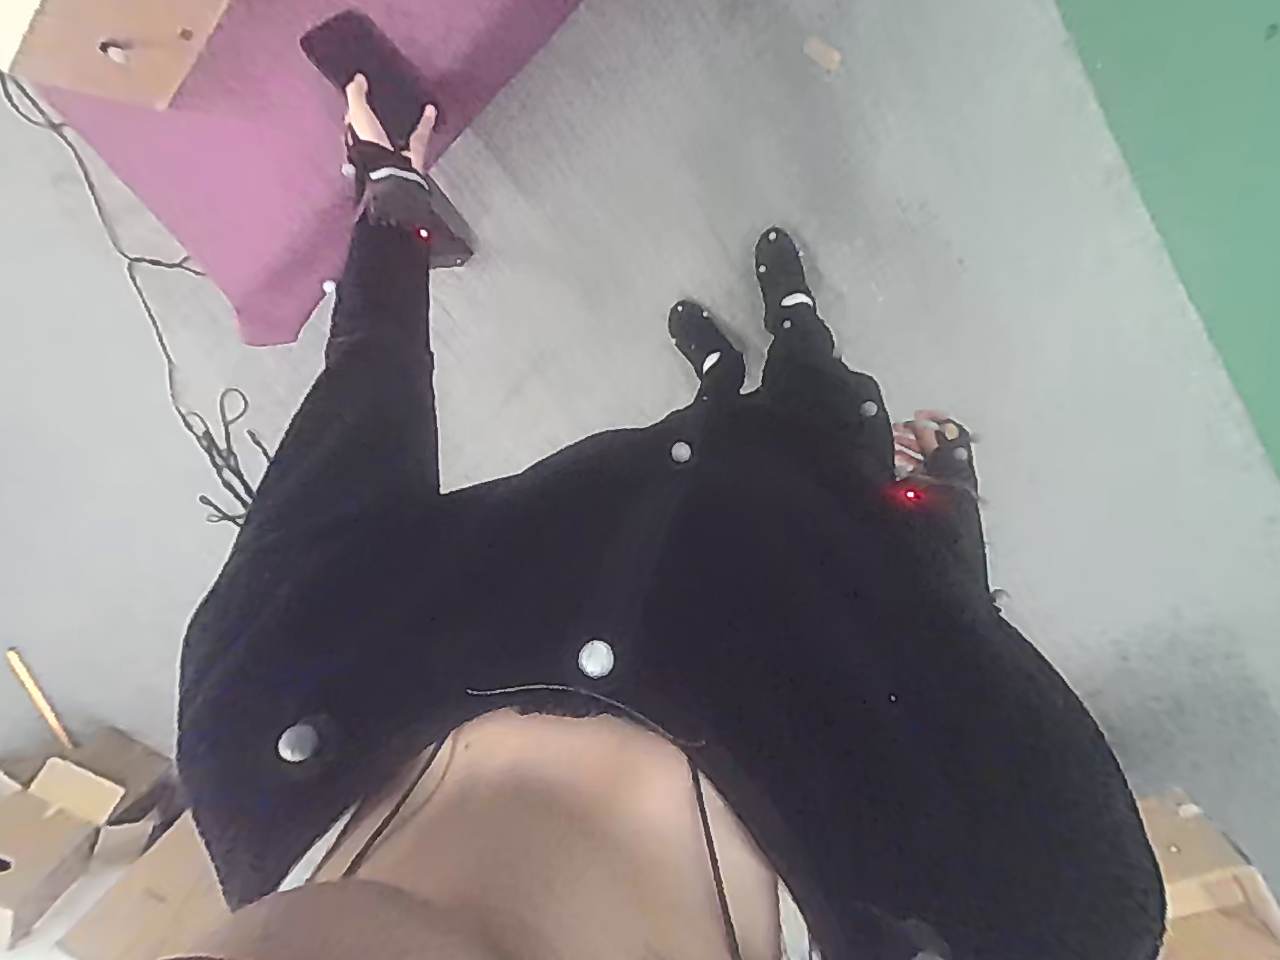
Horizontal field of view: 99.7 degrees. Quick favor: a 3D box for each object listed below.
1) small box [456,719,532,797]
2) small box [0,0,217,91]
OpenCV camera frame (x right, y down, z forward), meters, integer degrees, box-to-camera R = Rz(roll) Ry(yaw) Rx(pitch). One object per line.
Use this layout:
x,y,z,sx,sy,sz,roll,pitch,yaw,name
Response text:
-0.523,0.999,1.963,0.168,0.176,0.179,-35,106,20,small box
-0.577,-0.523,0.527,0.168,0.176,0.179,-36,104,20,small box
